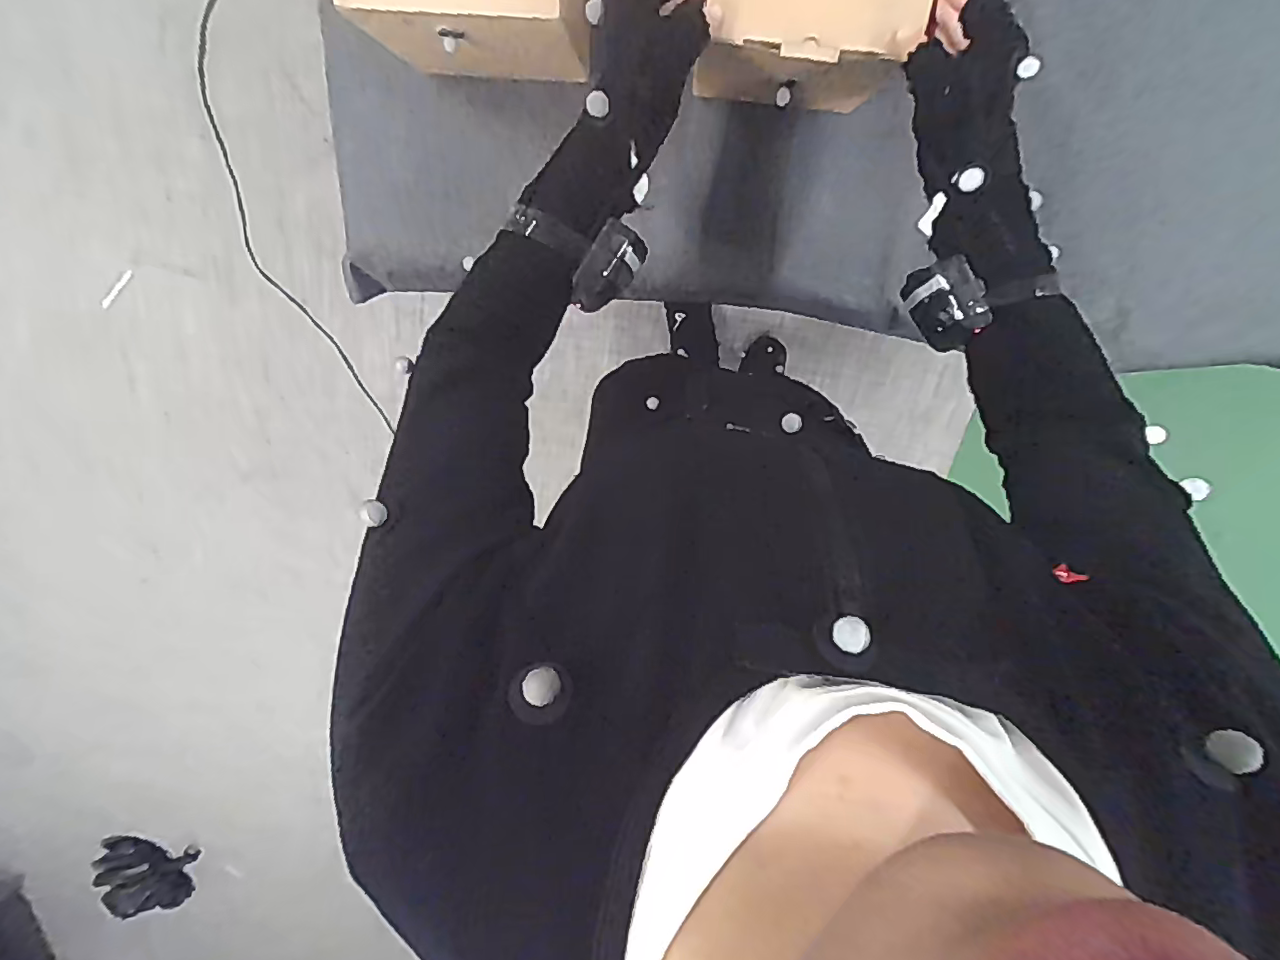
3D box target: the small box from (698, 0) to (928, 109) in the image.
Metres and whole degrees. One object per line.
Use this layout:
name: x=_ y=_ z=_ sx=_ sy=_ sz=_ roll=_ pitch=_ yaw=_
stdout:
small box: x=0.142 y=-0.434 z=0.454 sx=0.168 sy=0.176 sz=0.179 roll=6 pitch=114 yaw=1

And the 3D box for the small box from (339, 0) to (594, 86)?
small box: x=-0.136 y=-0.458 z=0.459 sx=0.179 sy=0.176 sz=0.168 roll=4 pitch=113 yaw=1
